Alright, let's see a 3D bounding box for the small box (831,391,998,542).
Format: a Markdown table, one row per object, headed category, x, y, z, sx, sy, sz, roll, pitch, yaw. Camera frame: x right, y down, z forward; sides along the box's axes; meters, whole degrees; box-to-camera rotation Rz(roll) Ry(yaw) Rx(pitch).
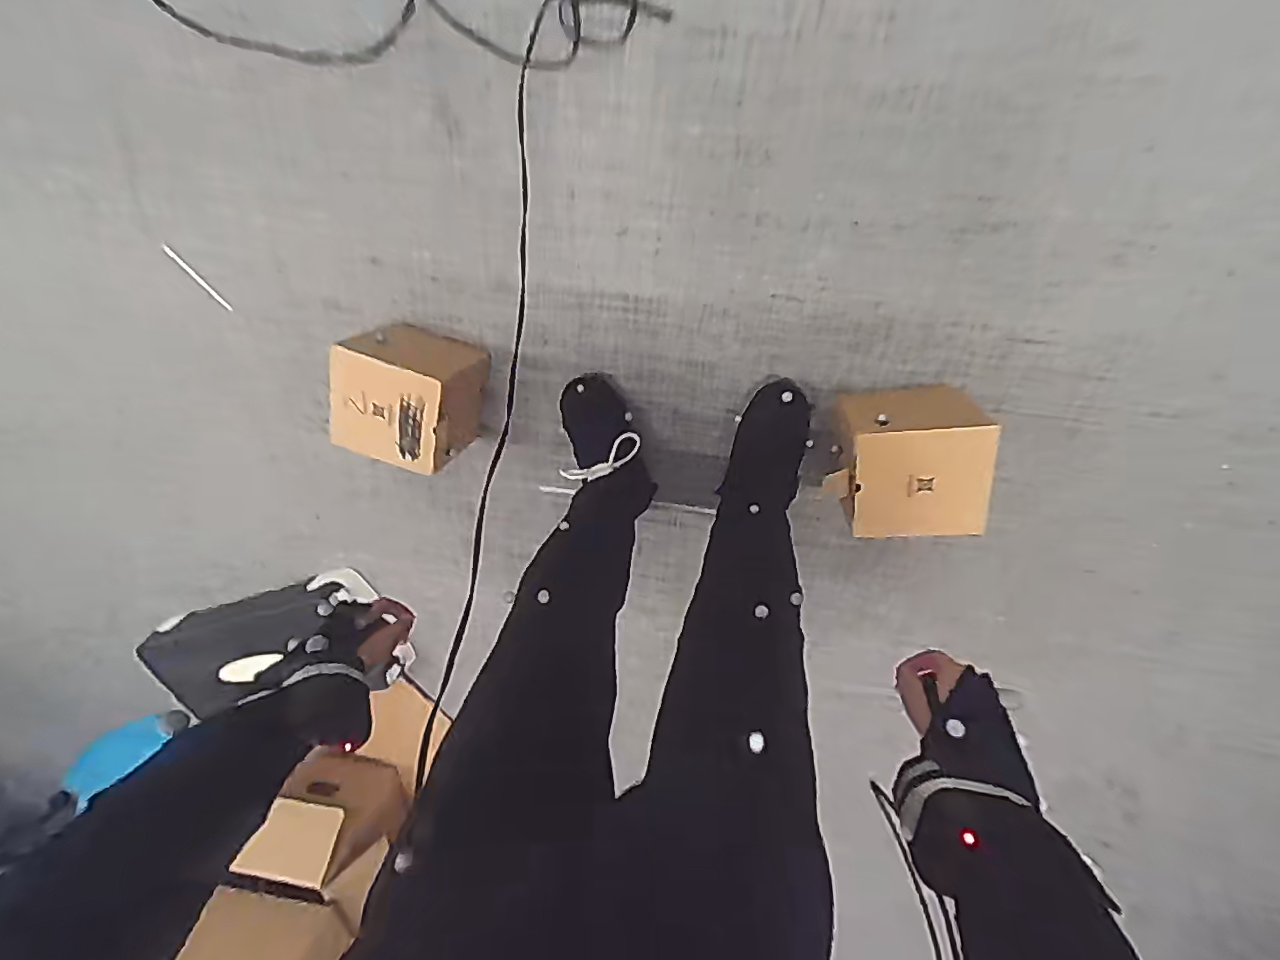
| category | x | y | z | sx | sy | sz | roll | pitch | yaw |
| --- | --- | --- | --- | --- | --- | --- | --- | --- | --- |
| small box | 0.387 | -0.024 | 0.796 | 0.179 | 0.176 | 0.168 | -3 | 117 | 12 |
